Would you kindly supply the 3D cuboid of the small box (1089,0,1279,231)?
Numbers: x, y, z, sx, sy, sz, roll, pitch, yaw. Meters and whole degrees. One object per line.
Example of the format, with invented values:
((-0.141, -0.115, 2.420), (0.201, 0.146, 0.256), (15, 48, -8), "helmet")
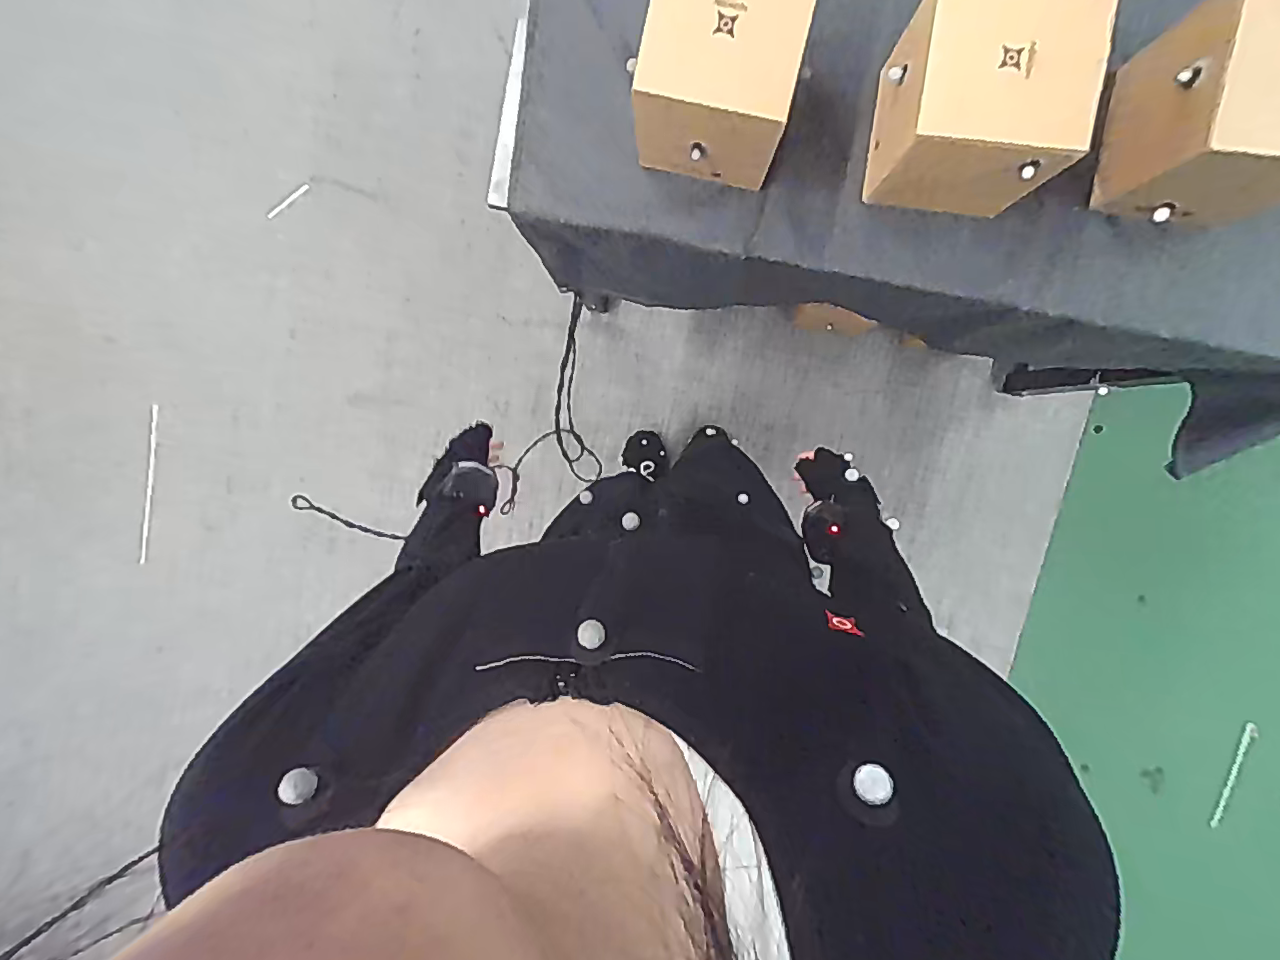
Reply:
((0.658, -0.407, 0.605), (0.168, 0.176, 0.179), (9, 97, 3), "small box")

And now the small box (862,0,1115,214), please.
((0.376, -0.424, 0.619), (0.179, 0.176, 0.168), (7, 97, 2), "small box")

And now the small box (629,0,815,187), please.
((0.091, -0.471, 0.624), (0.168, 0.176, 0.179), (14, 97, 1), "small box")

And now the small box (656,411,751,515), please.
((0.156, -0.040, 1.397), (0.179, 0.176, 0.168), (-27, 61, -18), "small box")

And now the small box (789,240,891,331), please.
((0.485, -0.473, 1.337), (0.179, 0.176, 0.168), (10, 97, 3), "small box")
